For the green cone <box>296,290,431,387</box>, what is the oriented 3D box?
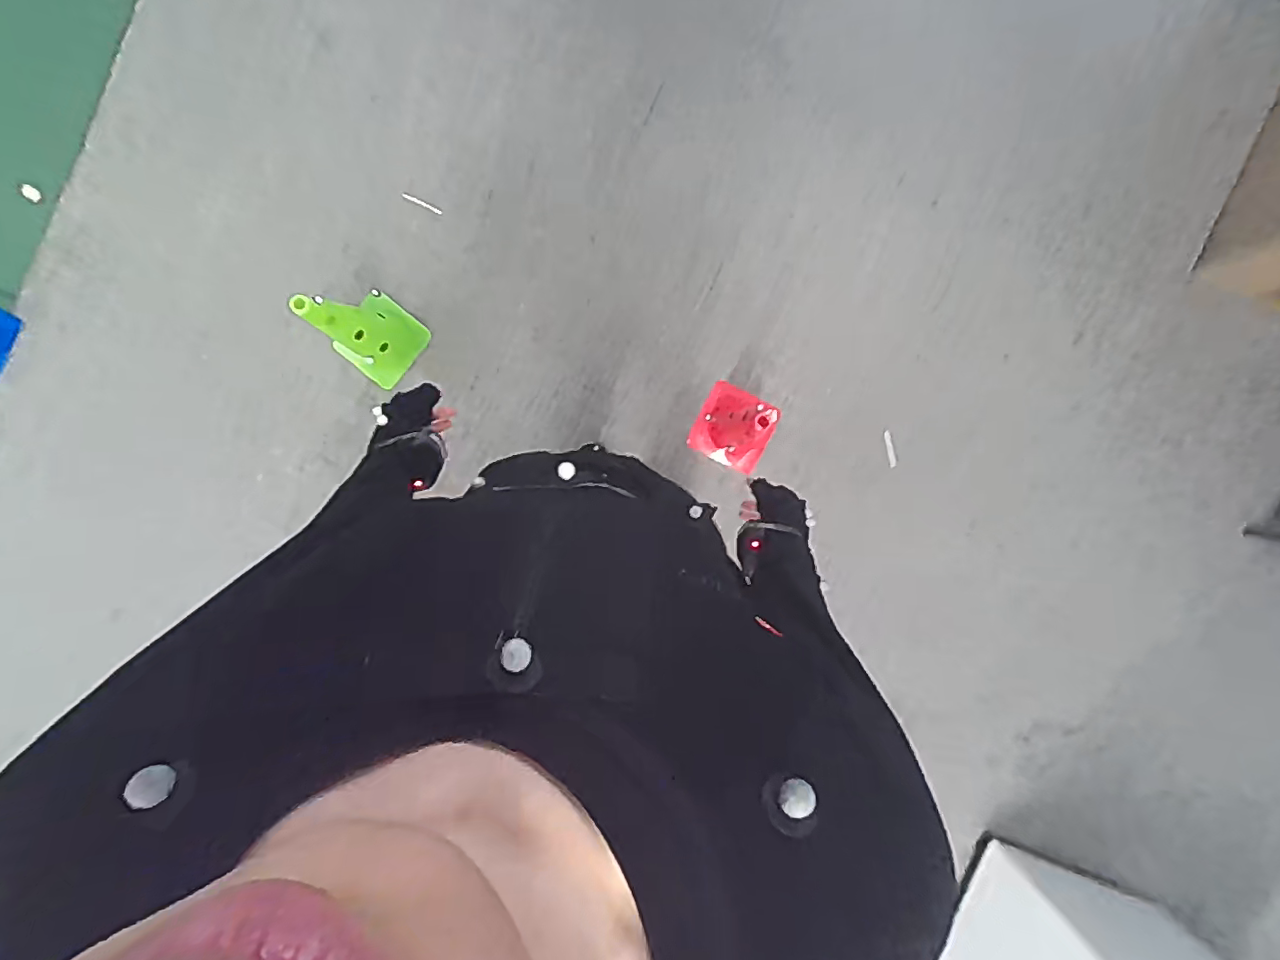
[{"bbox_3d":[-0.688,-0.370,1.277,0.202,0.368,0.200,38,92,-2],"label":"green cone"}]
